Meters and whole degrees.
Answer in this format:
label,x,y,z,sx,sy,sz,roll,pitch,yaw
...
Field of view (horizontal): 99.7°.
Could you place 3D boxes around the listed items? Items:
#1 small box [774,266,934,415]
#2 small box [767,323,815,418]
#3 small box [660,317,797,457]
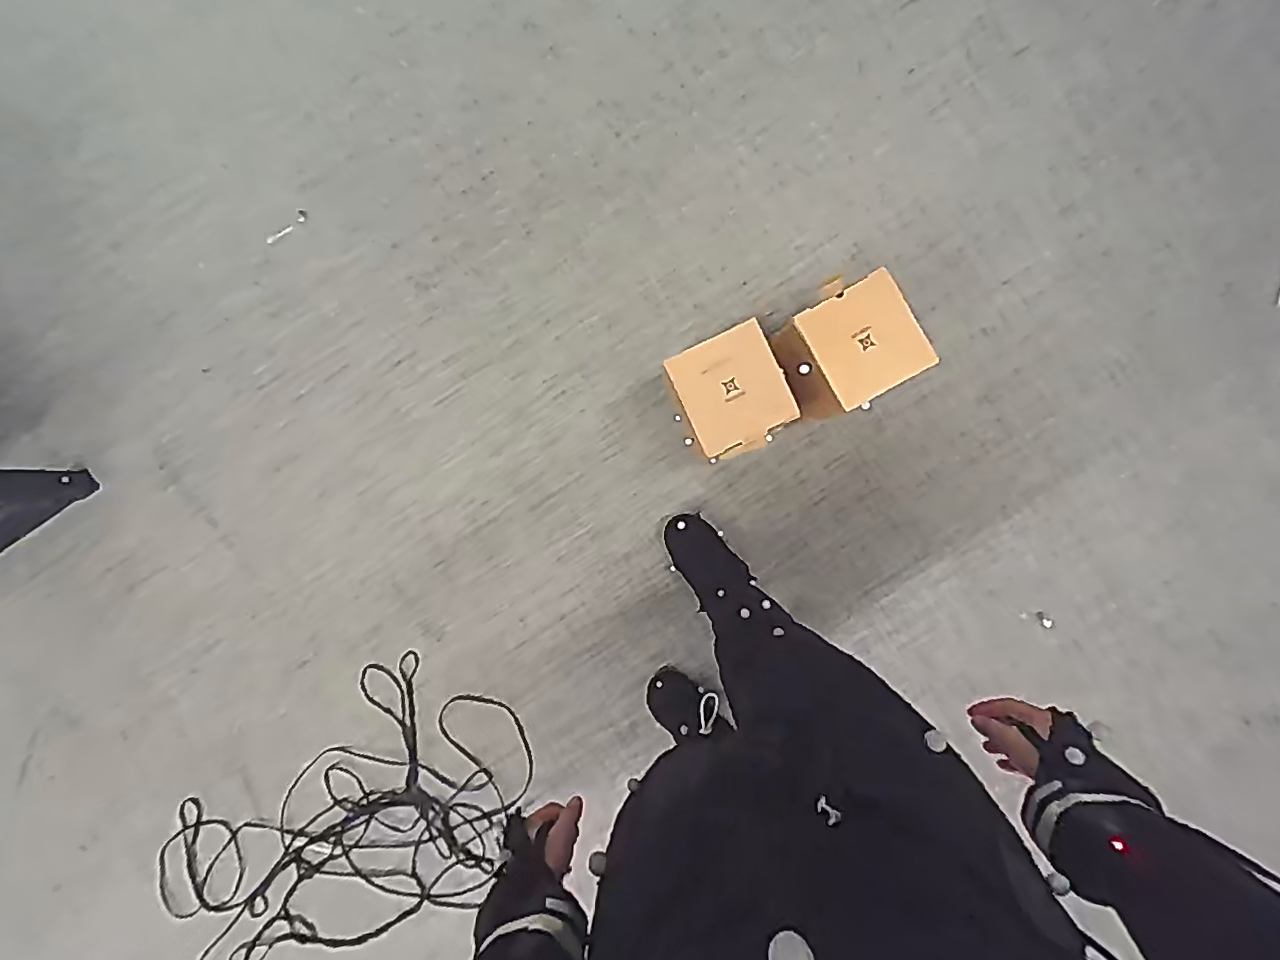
label,x,y,z,sx,sy,sz,roll,pitch,yaw
small box,0.353,-0.223,0.925,0.168,0.176,0.179,-29,89,2
small box,0.363,-0.243,1.088,0.168,0.176,0.179,-29,88,2
small box,0.145,-0.149,0.936,0.168,0.176,0.179,-25,88,1
